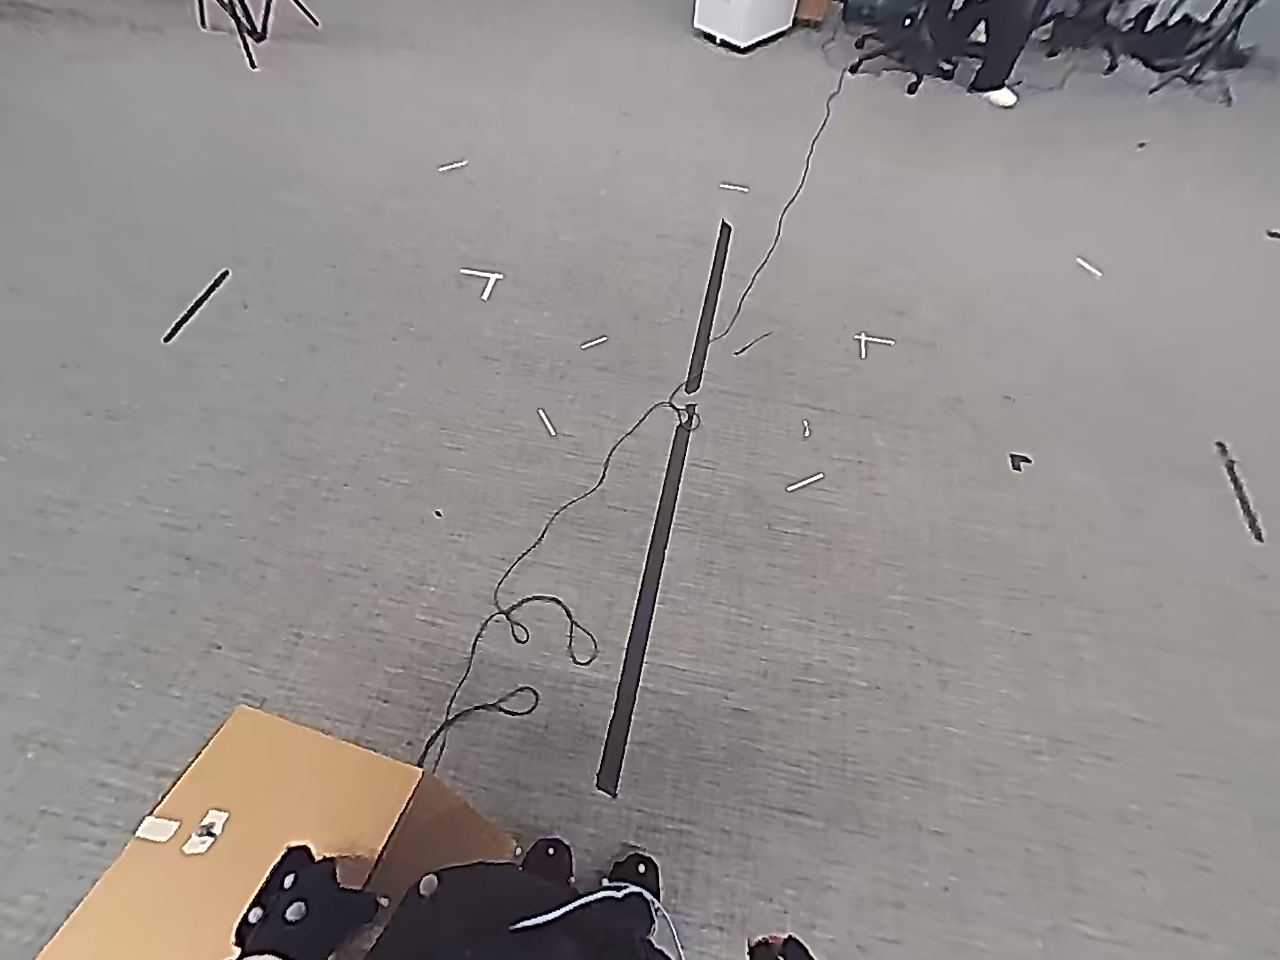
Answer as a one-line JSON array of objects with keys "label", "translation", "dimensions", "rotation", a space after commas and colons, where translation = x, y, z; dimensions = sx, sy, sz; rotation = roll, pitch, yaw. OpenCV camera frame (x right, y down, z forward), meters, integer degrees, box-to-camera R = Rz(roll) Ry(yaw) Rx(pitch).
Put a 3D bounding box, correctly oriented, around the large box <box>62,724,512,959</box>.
[{"label": "large box", "translation": [-0.429, 0.591, 0.745], "dimensions": [0.320, 0.408, 0.320], "rotation": [10, 48, 17]}]
